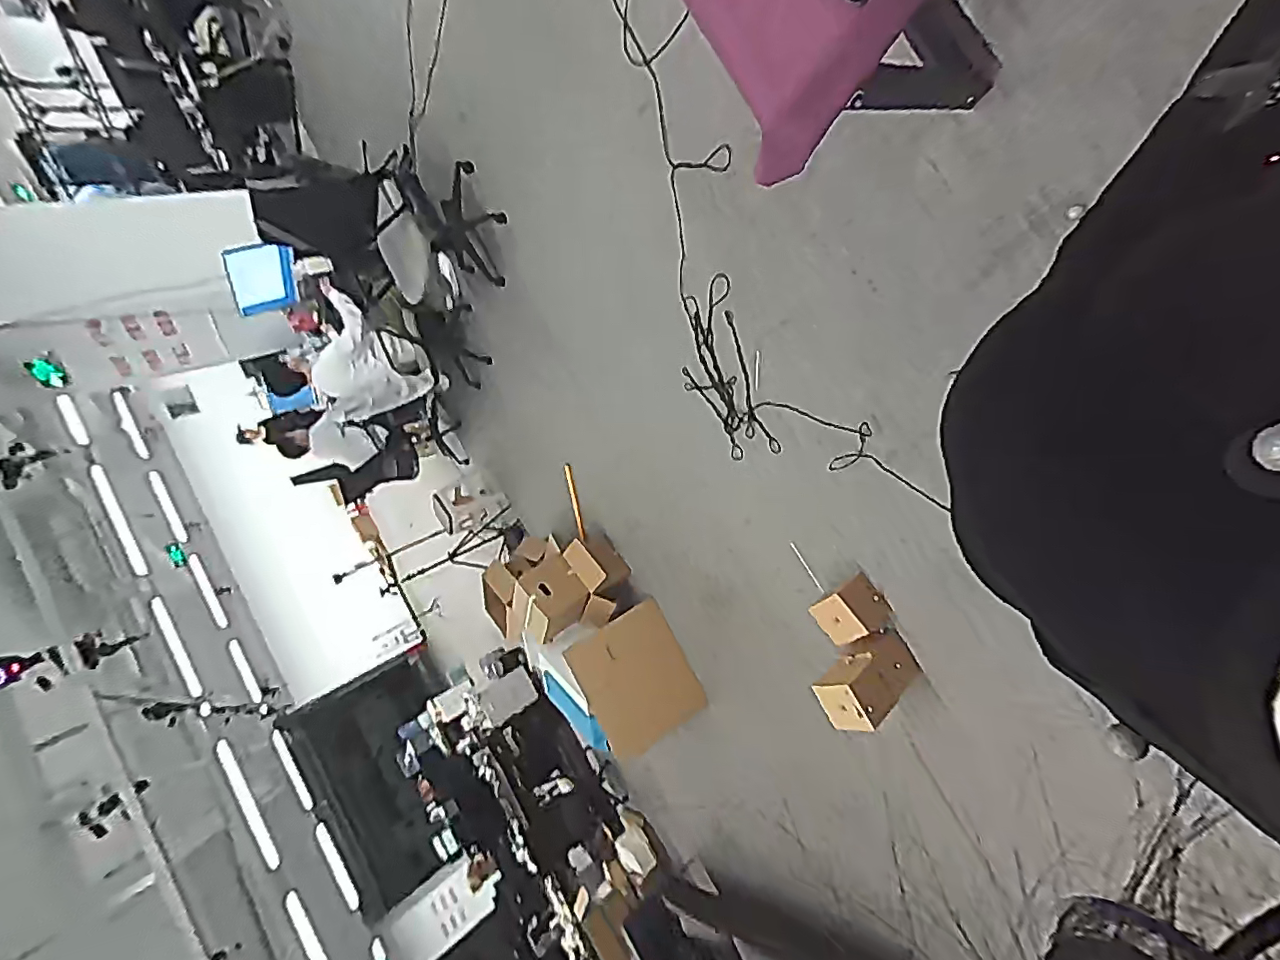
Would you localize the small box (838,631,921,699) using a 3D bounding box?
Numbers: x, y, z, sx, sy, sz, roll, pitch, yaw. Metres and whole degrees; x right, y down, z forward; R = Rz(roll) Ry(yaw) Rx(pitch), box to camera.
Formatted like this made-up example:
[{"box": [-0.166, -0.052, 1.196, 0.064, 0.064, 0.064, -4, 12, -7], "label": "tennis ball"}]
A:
[{"box": [0.852, 0.655, 1.922, 0.179, 0.176, 0.168, 59, 147, 6], "label": "small box"}]

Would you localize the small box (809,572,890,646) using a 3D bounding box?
[{"box": [0.749, 0.459, 1.930, 0.168, 0.176, 0.179, 53, 145, 14], "label": "small box"}]

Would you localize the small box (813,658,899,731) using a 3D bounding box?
[{"box": [0.732, 0.722, 1.832, 0.168, 0.176, 0.179, 60, 148, 5], "label": "small box"}]
